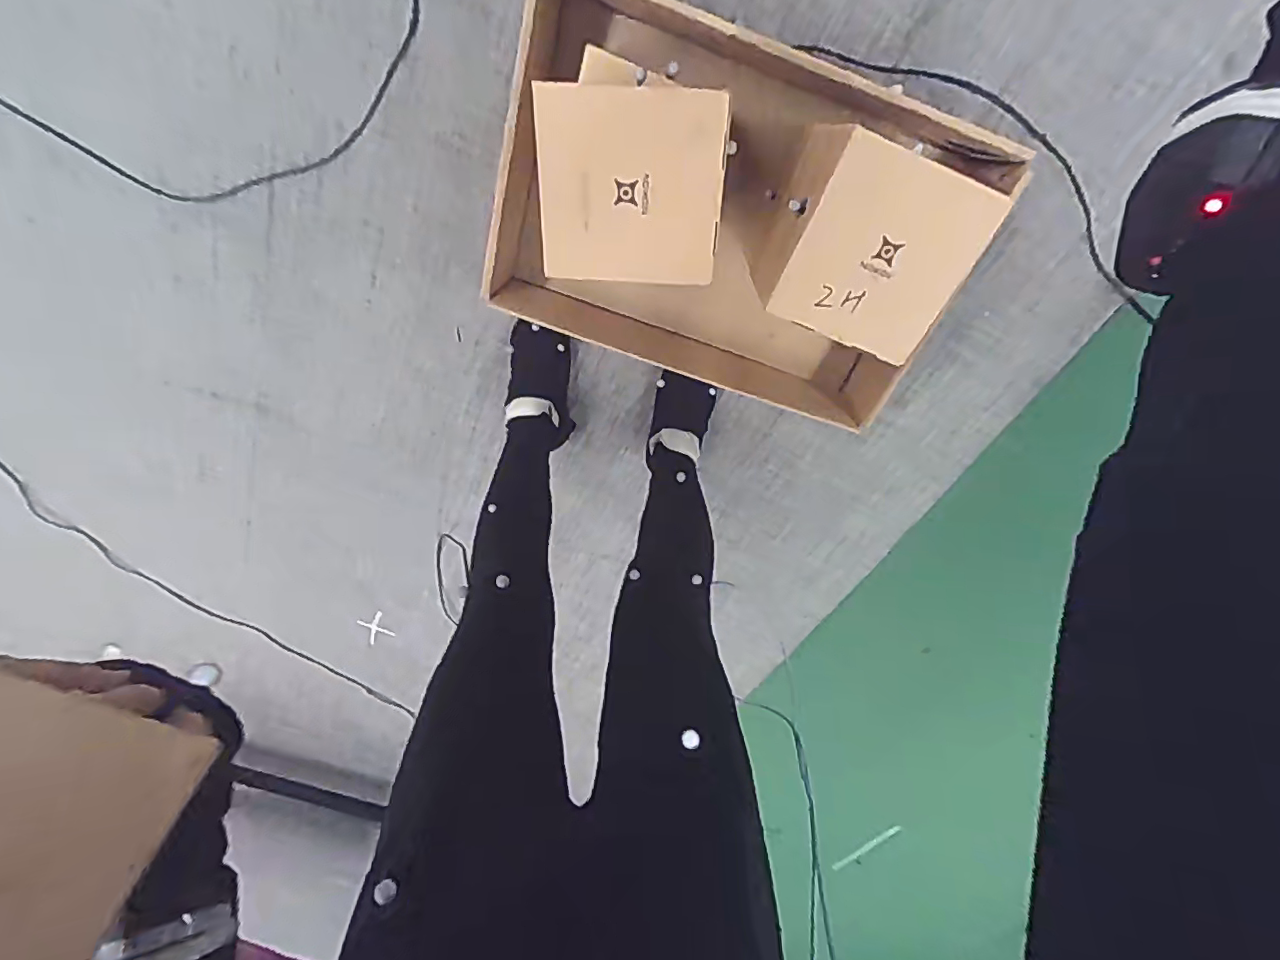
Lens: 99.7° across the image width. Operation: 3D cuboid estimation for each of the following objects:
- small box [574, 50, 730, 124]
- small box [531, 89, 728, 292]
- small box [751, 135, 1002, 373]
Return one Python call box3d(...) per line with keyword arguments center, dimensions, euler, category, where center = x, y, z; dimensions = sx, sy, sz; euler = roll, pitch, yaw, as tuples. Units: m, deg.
box3d(center=(-0.002, -0.419, 0.702), dimensions=(0.179, 0.176, 0.168), euler=(17, 124, -9), category="small box")
box3d(center=(-0.009, -0.312, 0.578), dimensions=(0.179, 0.176, 0.168), euler=(4, 125, 1), category="small box")
box3d(center=(0.233, -0.252, 0.593), dimensions=(0.168, 0.176, 0.179), euler=(20, 123, -8), category="small box")
